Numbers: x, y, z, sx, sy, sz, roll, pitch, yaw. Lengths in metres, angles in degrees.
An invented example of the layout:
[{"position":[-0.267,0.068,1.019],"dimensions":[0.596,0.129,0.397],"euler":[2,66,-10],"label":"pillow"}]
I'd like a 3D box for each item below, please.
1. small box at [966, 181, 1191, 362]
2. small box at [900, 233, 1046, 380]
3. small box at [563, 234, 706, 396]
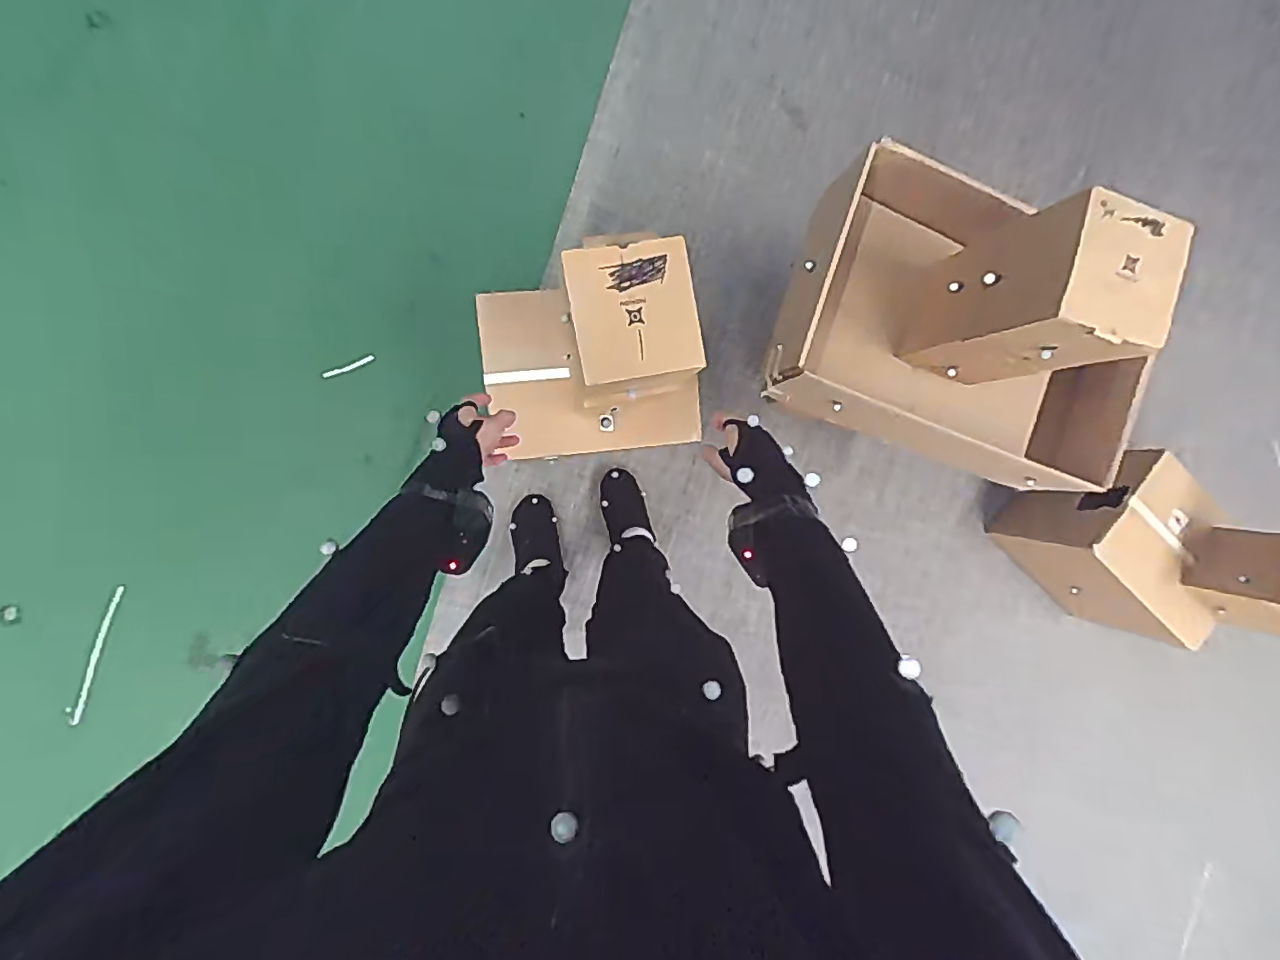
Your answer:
[{"position":[0.611,-0.280,0.777],"dimensions":[0.168,0.176,0.179],"euler":[15,91,-10],"label":"small box"},{"position":[0.588,-0.289,0.939],"dimensions":[0.168,0.176,0.179],"euler":[17,90,-9],"label":"small box"},{"position":[-0.017,-0.228,0.782],"dimensions":[0.168,0.176,0.179],"euler":[-11,94,-8],"label":"small box"}]
